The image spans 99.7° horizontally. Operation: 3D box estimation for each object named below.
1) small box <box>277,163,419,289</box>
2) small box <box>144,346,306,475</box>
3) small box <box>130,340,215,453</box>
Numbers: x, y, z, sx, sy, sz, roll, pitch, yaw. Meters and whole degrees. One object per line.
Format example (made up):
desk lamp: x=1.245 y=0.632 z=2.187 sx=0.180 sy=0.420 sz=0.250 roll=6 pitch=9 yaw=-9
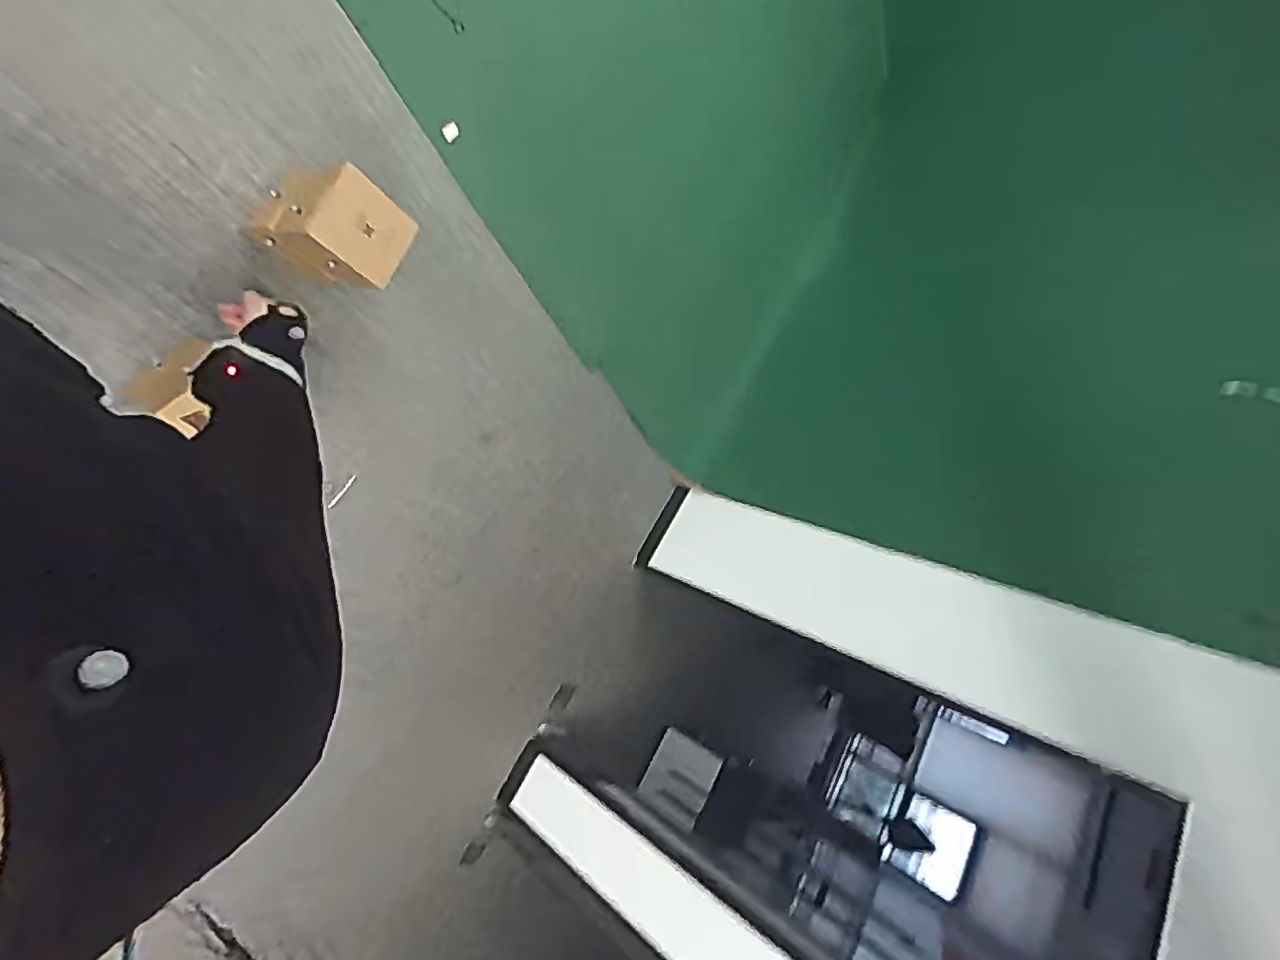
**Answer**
small box: x=-0.614 y=-0.523 z=1.134 sx=0.179 sy=0.176 sz=0.168 roll=39 pitch=74 yaw=-53
small box: x=-0.806 y=-0.139 z=1.048 sx=0.179 sy=0.176 sz=0.168 roll=-53 pitch=140 yaw=-25
small box: x=-0.930 y=-0.176 z=1.151 sx=0.179 sy=0.176 sz=0.168 roll=-53 pitch=140 yaw=-23
